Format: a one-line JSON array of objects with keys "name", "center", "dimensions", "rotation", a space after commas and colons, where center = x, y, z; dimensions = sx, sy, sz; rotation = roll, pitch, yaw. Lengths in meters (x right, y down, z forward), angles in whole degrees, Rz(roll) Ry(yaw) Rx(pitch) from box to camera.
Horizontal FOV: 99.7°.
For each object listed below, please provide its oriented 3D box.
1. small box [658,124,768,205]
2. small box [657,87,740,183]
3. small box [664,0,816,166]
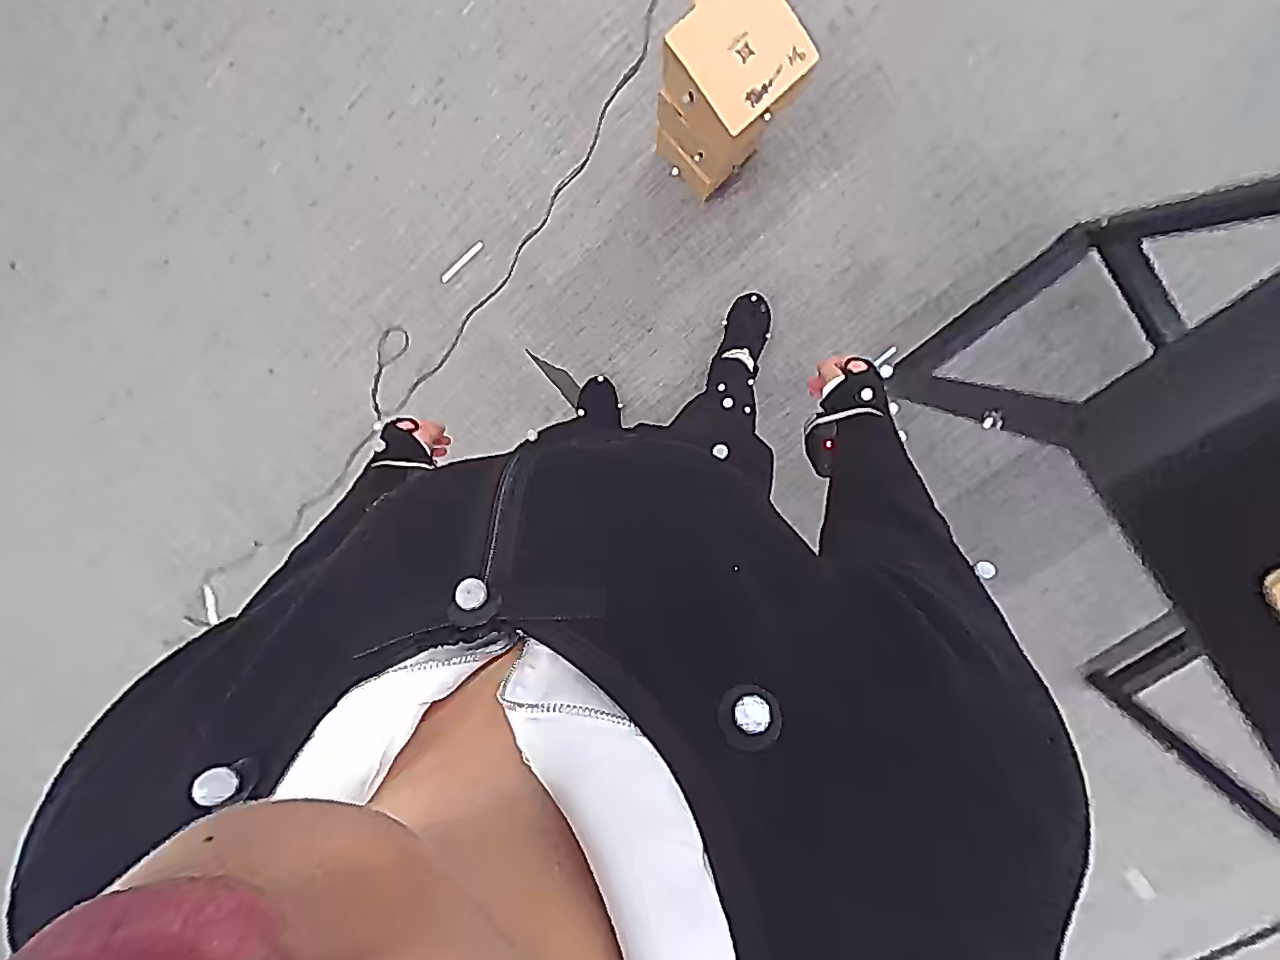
[{"name": "small box", "center": [0.153, -0.752, 1.202], "dimensions": [0.179, 0.176, 0.168], "rotation": [-42, 100, 13]}, {"name": "small box", "center": [0.150, -0.716, 1.044], "dimensions": [0.168, 0.176, 0.179], "rotation": [42, 101, -10]}, {"name": "small box", "center": [0.153, -0.661, 0.888], "dimensions": [0.168, 0.176, 0.179], "rotation": [-38, 100, 11]}]
